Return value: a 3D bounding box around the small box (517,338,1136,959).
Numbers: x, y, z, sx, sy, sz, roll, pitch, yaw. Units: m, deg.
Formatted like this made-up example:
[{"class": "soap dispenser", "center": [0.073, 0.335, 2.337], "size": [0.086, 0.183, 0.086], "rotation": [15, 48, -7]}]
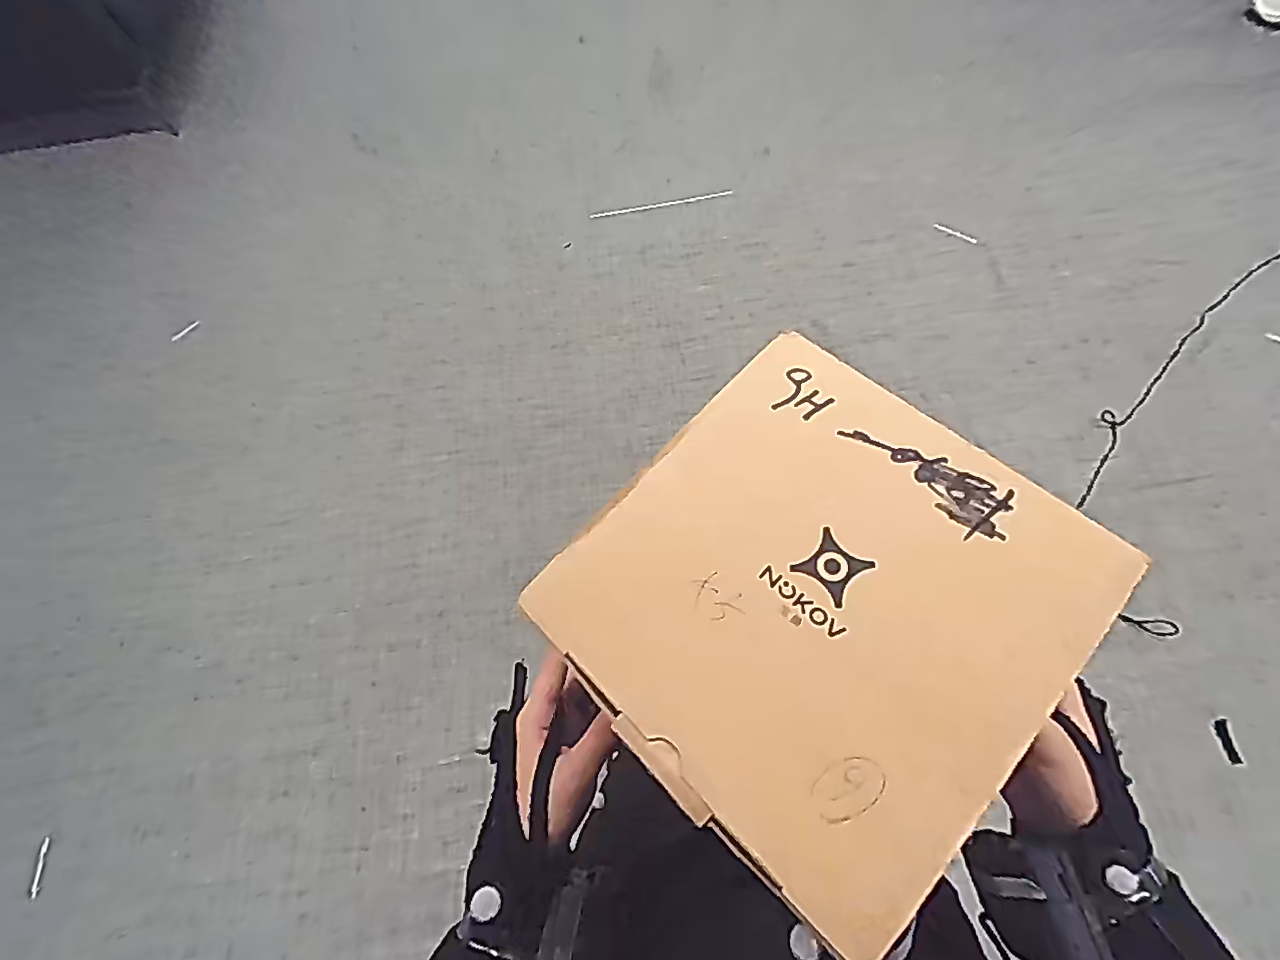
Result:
[{"class": "small box", "center": [0.075, 0.072, 0.280], "size": [0.168, 0.176, 0.179], "rotation": [41, 78, 21]}]
